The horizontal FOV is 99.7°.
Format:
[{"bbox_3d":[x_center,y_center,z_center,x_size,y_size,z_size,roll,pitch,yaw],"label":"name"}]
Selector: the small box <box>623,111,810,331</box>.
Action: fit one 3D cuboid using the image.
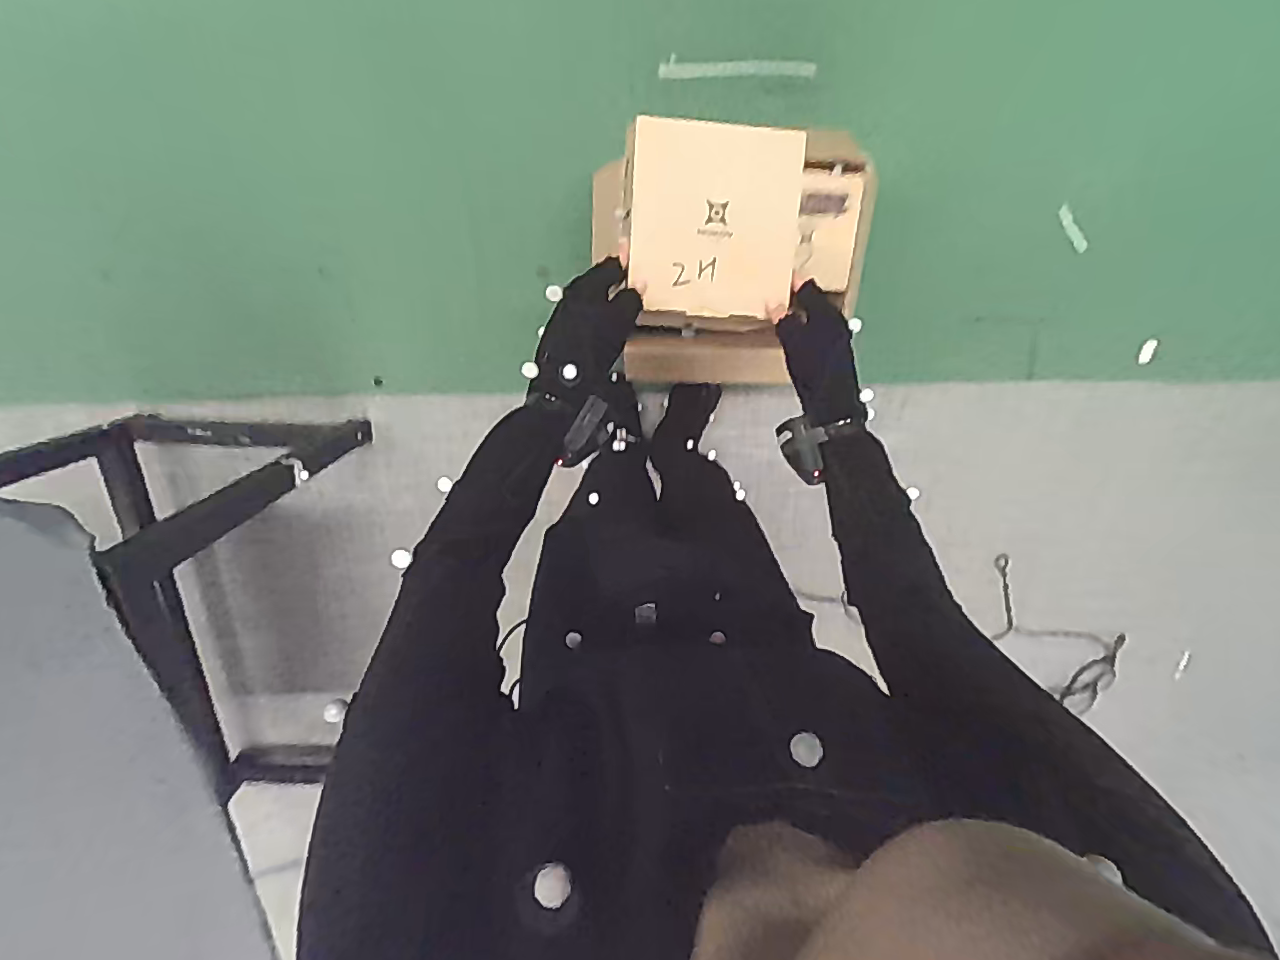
[{"bbox_3d":[0.069,-0.265,0.596,0.168,0.176,0.179,3,101,-4],"label":"small box"}]
